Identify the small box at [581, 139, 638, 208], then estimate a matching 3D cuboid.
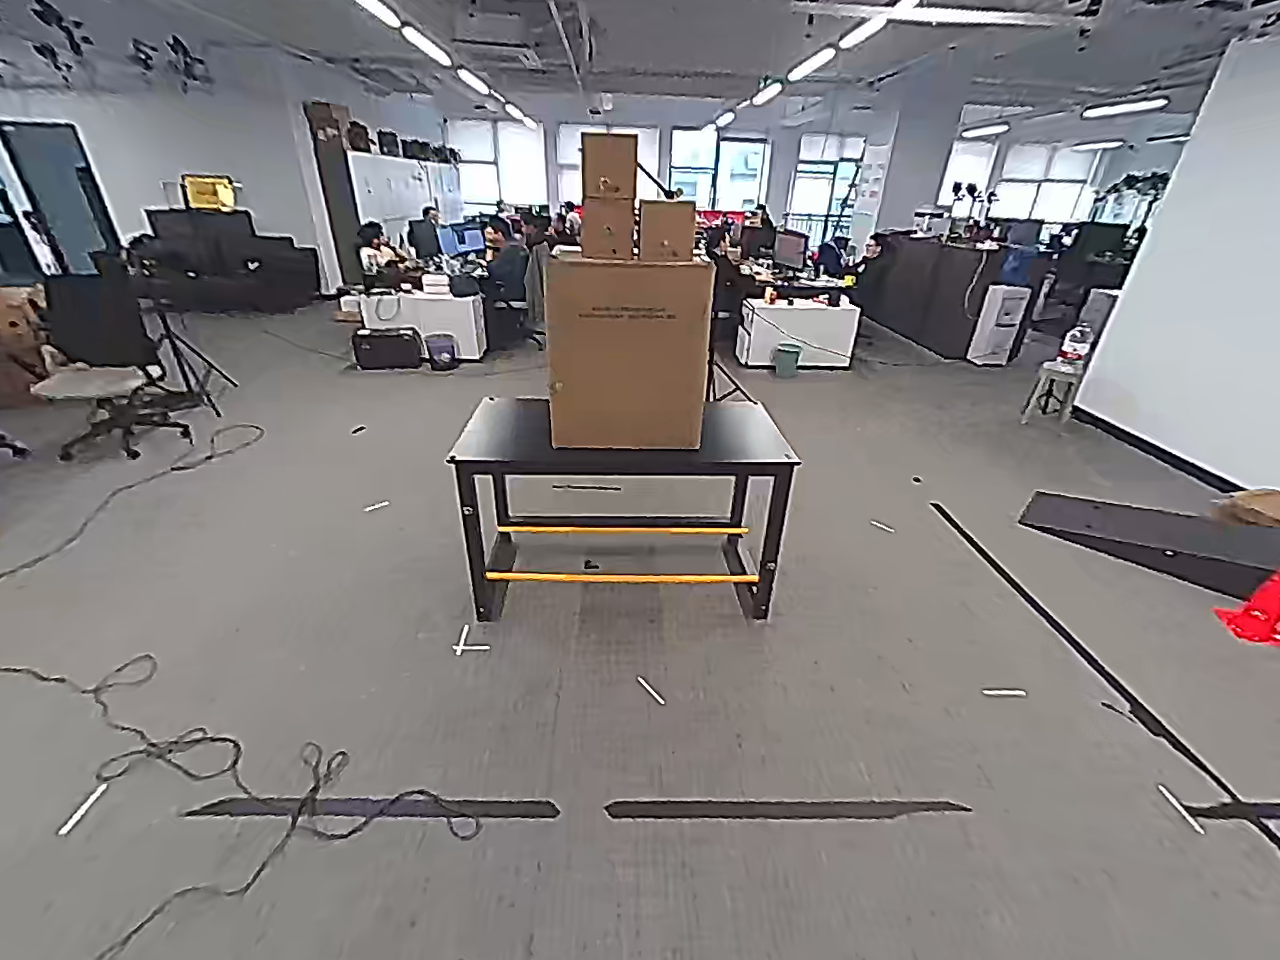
[{"bbox_3d":[-0.092,-0.931,1.644,0.168,0.176,0.179,0,30,-2],"label":"small box"}]
